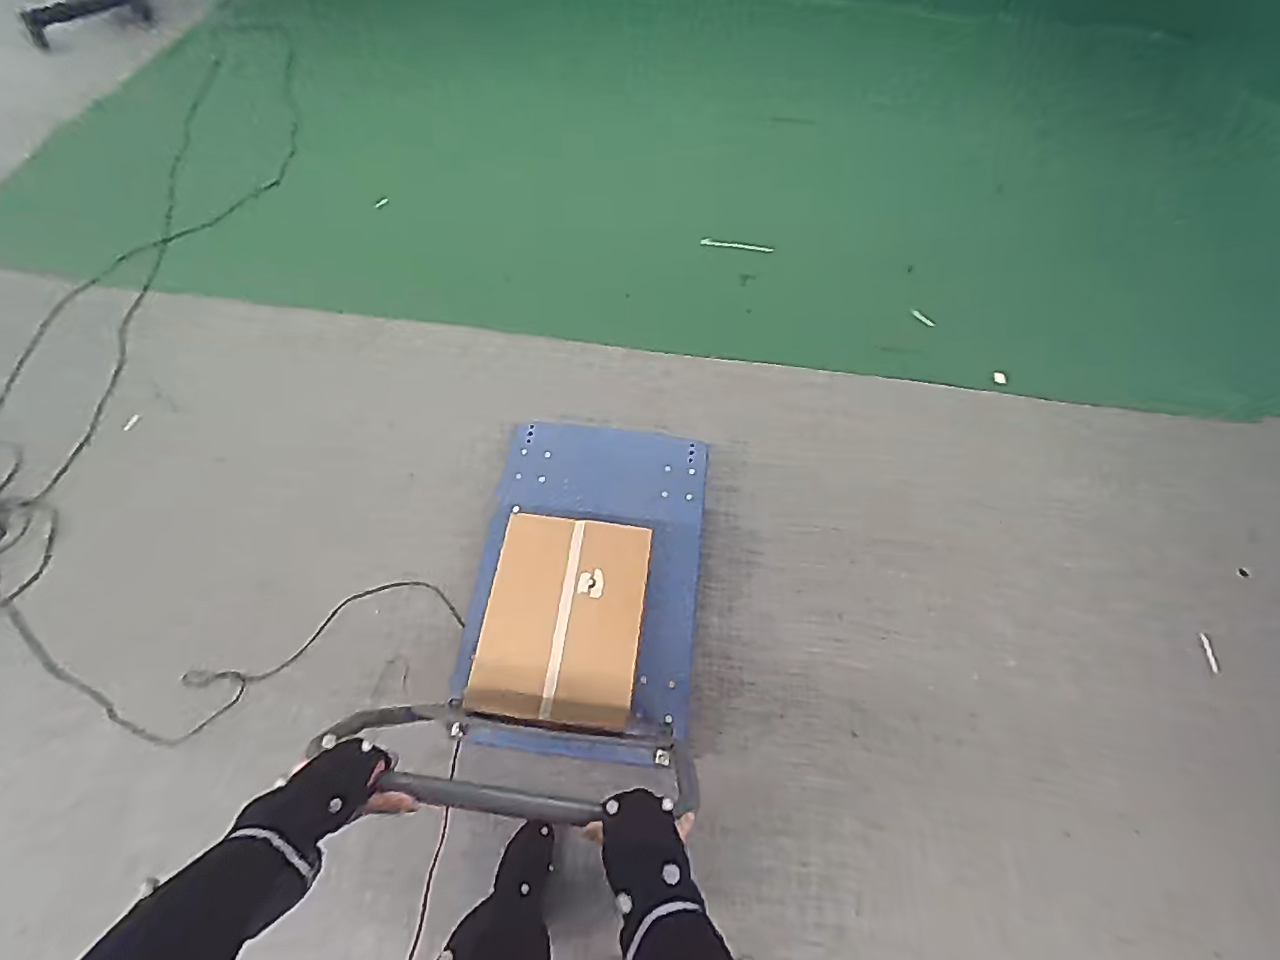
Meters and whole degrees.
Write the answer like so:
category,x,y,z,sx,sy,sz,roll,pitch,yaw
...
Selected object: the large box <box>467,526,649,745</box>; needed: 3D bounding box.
category,x,y,z,sx,sy,sz,roll,pitch,yaw
large box,-0.152,0.359,1.214,0.320,0.320,0.408,6,63,2
